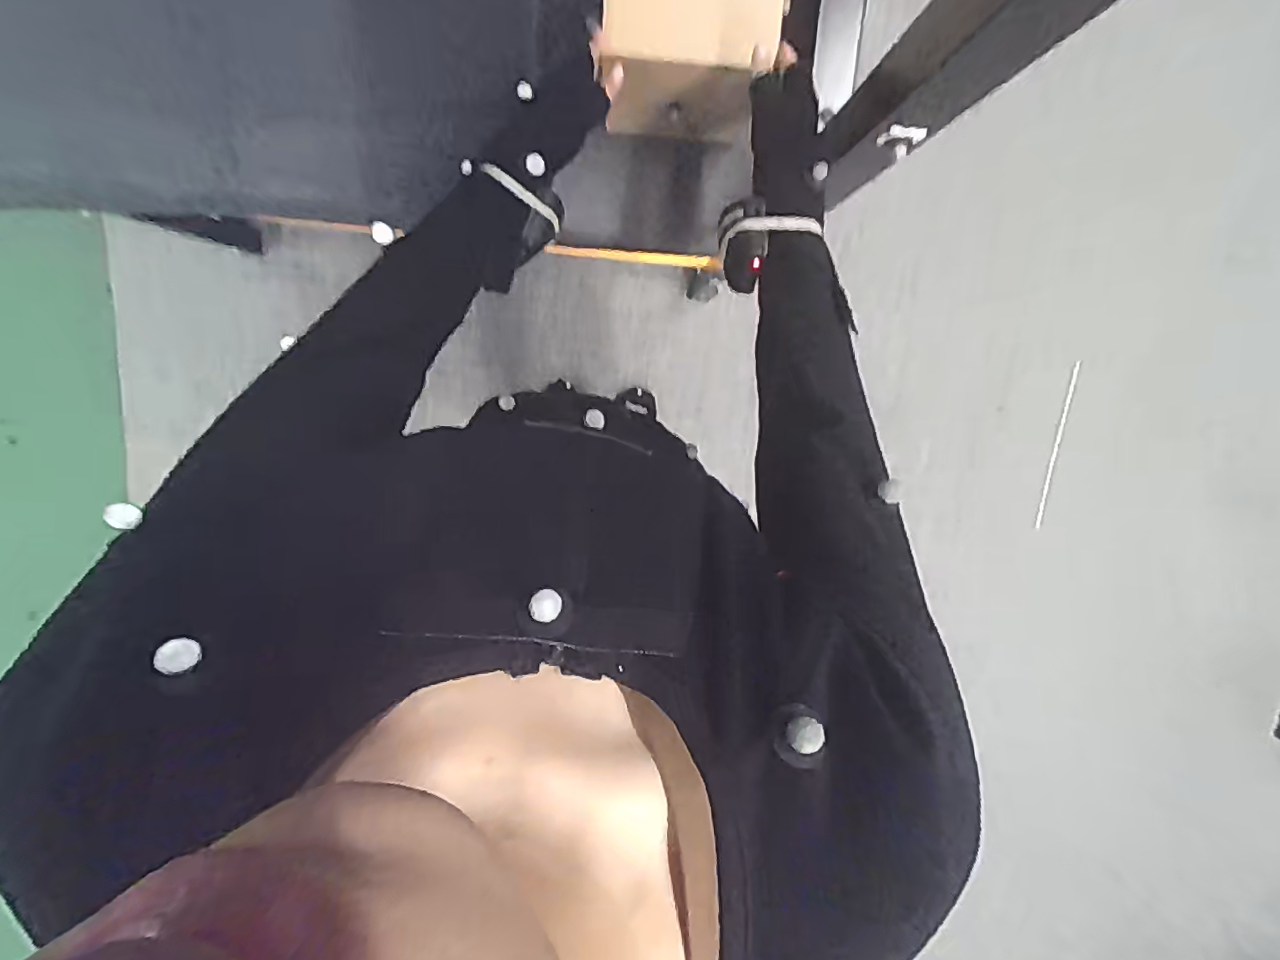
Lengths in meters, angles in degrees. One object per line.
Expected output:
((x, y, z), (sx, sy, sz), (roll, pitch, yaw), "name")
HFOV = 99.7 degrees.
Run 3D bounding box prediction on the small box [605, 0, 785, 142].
((0.053, -0.485, 0.567), (0.168, 0.176, 0.179), (3, 101, -3), "small box")
